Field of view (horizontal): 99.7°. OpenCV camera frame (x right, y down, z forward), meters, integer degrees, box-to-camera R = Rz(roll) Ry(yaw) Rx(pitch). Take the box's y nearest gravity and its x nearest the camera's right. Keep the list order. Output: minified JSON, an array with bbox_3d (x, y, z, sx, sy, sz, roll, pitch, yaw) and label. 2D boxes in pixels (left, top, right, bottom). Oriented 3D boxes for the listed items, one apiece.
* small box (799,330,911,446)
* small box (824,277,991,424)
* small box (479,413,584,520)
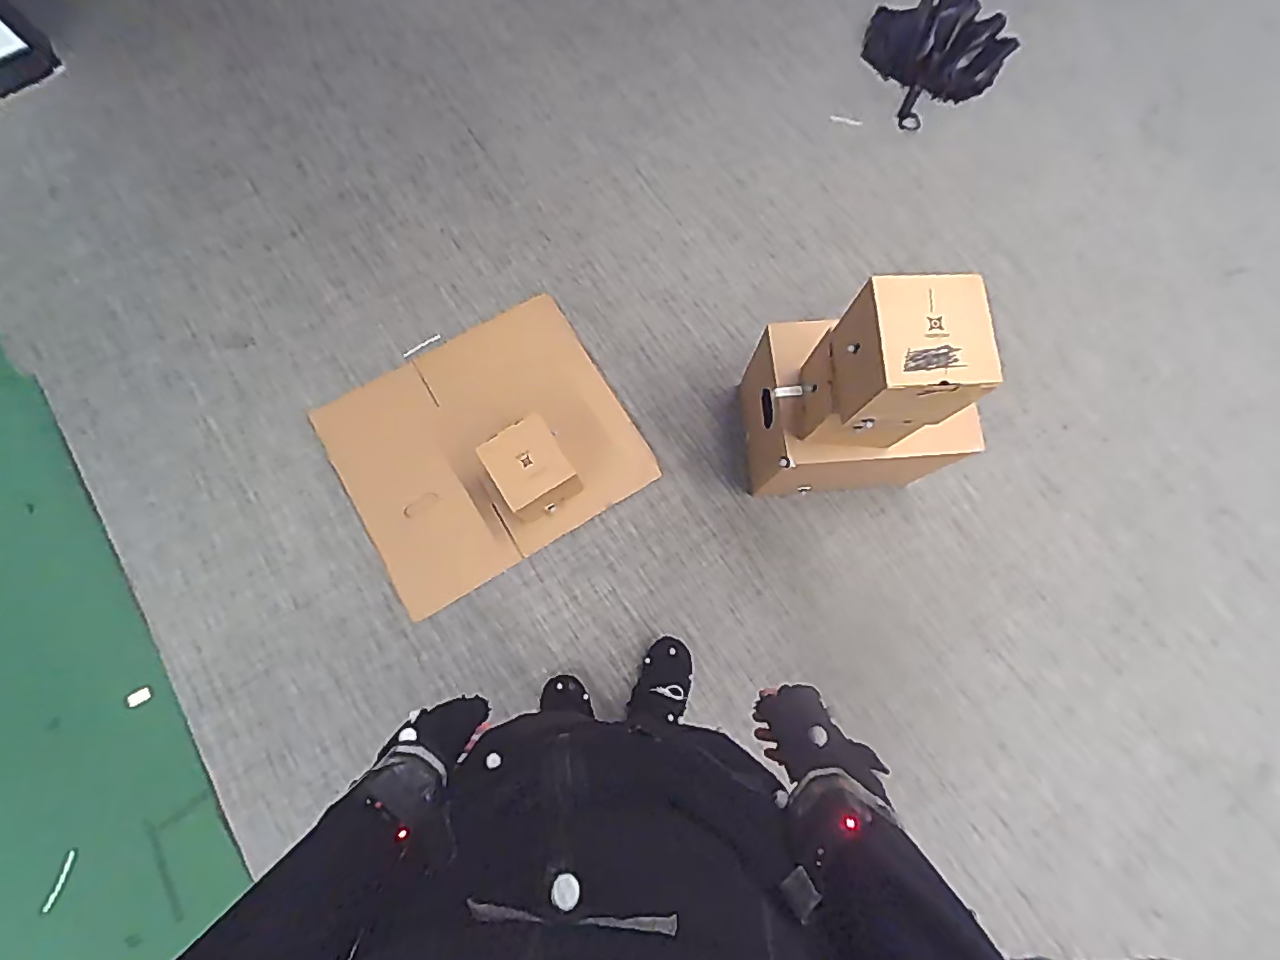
[{"bbox_3d":[0.408,-0.168,1.022,0.179,0.176,0.168,1,75,-1],"label":"small box"},{"bbox_3d":[0.409,-0.192,0.856,0.168,0.176,0.179,-5,78,-1],"label":"small box"},{"bbox_3d":[-0.249,-0.024,1.279,0.168,0.176,0.179,-33,79,-6],"label":"small box"}]
